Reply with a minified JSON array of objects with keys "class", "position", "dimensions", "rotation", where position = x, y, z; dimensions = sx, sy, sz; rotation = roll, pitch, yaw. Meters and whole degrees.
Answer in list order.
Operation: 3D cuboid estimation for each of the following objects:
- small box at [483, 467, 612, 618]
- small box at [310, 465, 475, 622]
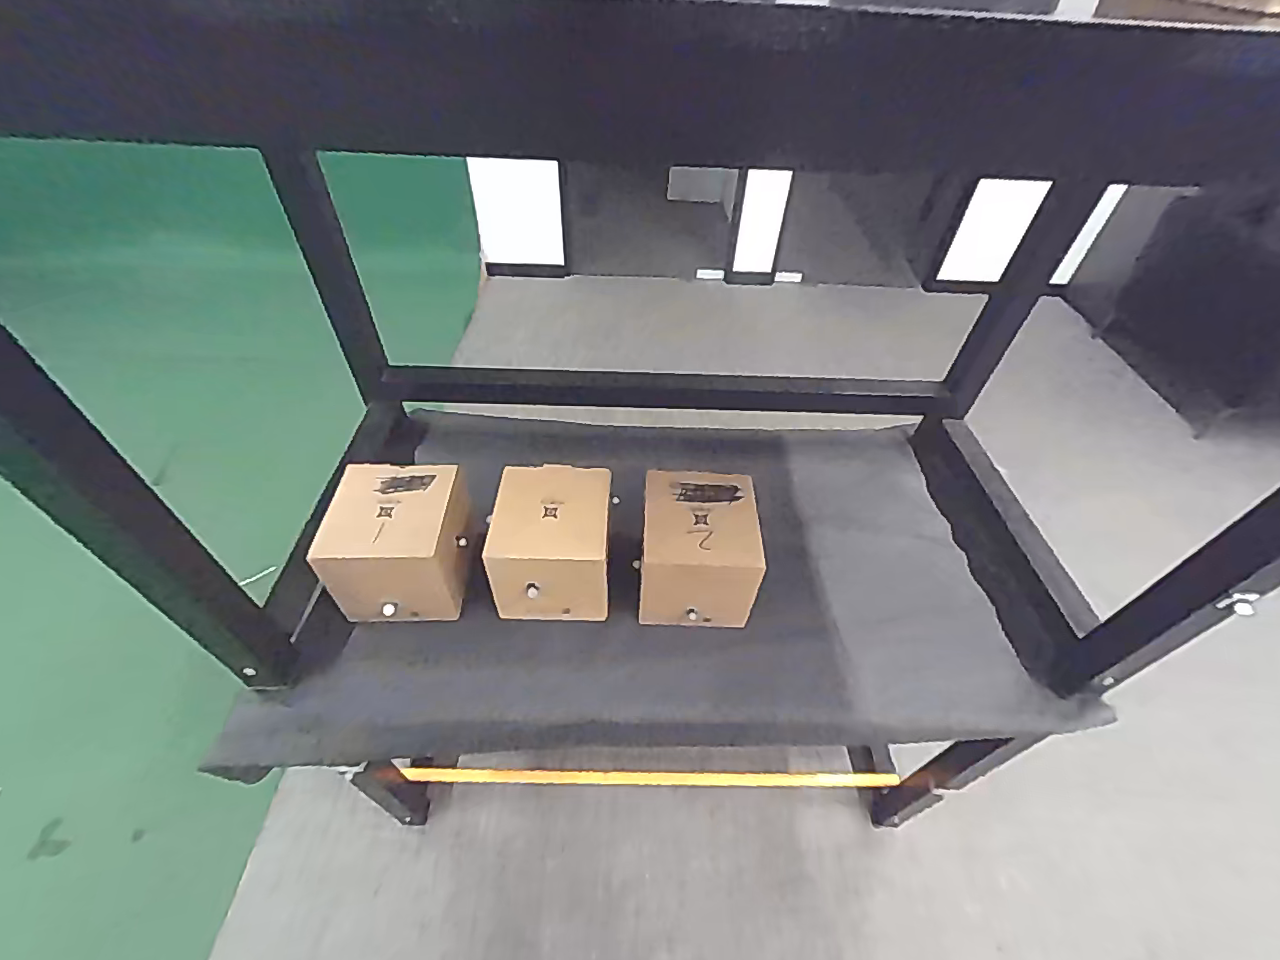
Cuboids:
[{"class":"small box","position":[-0.130,0.098,0.834],"dimensions":[0.168,0.176,0.179],"rotation":[1,45,-2]},{"class":"small box","position":[-0.357,0.097,0.822],"dimensions":[0.168,0.176,0.179],"rotation":[0,46,-3]}]
